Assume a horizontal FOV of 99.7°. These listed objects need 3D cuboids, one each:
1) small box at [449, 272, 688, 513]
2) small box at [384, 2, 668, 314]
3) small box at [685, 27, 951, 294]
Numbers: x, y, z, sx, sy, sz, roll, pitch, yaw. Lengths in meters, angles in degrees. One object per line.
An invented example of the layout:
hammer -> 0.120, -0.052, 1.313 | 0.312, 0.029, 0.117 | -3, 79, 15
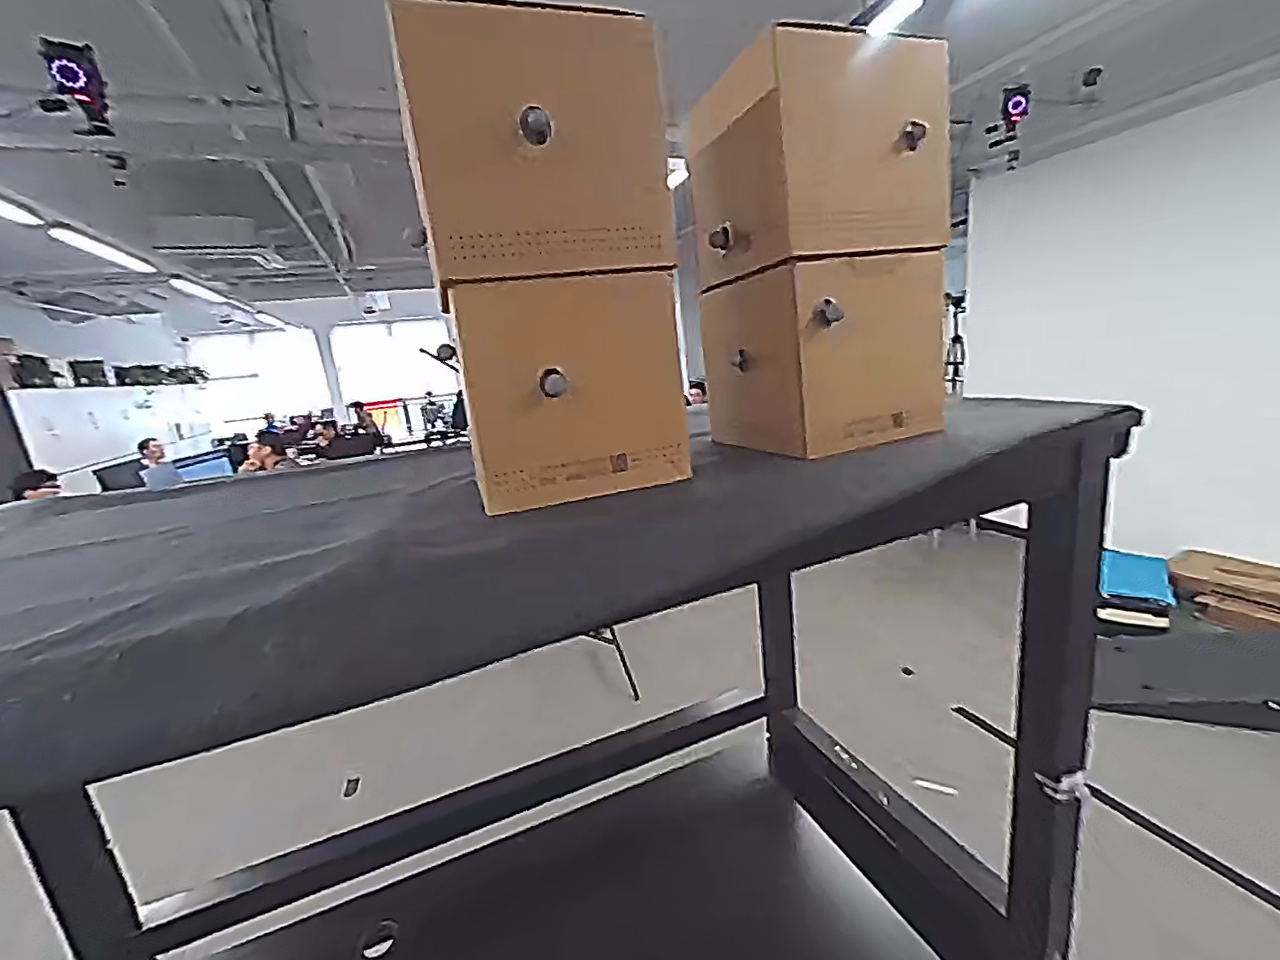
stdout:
small box -> -0.067, -0.075, 0.480 | 0.168, 0.176, 0.179 | -11, 12, -17
small box -> -0.085, -0.233, 0.436 | 0.179, 0.176, 0.168 | -12, 12, -16
small box -> 0.161, -0.278, 0.511 | 0.179, 0.176, 0.168 | -13, 12, -19
